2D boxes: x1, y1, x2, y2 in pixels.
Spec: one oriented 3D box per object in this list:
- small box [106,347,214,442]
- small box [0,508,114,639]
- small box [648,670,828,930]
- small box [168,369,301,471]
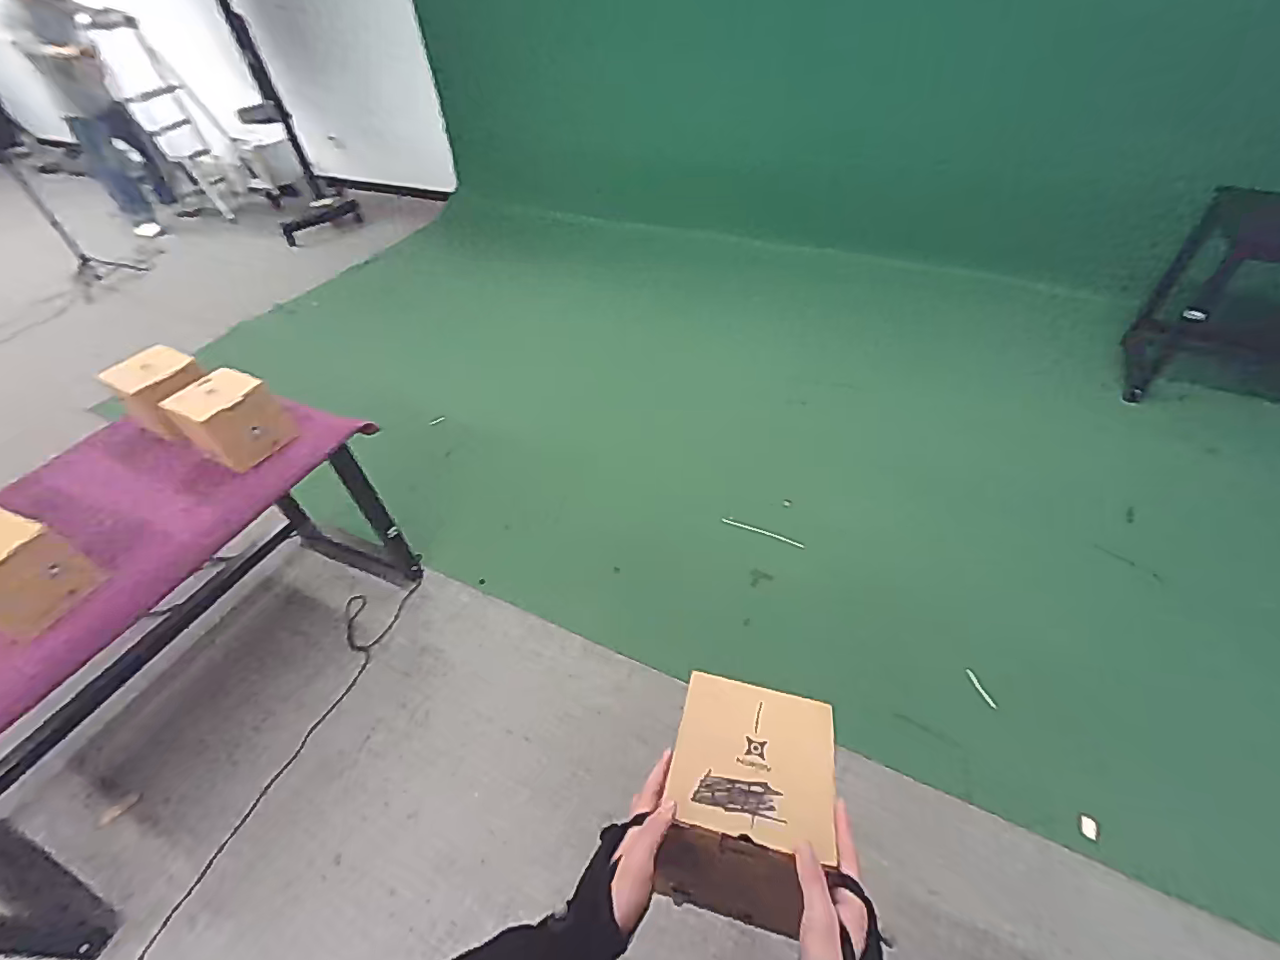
[{"bbox_3d":[-1.245,-0.227,1.447,0.179,0.176,0.168,21,52,22],"label":"small box"},{"bbox_3d":[-1.207,0.185,1.054,0.179,0.176,0.168,13,48,18],"label":"small box"},{"bbox_3d":[0.109,0.351,0.601,0.168,0.176,0.179,10,33,12],"label":"small box"},{"bbox_3d":[-0.999,-0.147,1.349,0.179,0.176,0.168,20,52,23],"label":"small box"}]
